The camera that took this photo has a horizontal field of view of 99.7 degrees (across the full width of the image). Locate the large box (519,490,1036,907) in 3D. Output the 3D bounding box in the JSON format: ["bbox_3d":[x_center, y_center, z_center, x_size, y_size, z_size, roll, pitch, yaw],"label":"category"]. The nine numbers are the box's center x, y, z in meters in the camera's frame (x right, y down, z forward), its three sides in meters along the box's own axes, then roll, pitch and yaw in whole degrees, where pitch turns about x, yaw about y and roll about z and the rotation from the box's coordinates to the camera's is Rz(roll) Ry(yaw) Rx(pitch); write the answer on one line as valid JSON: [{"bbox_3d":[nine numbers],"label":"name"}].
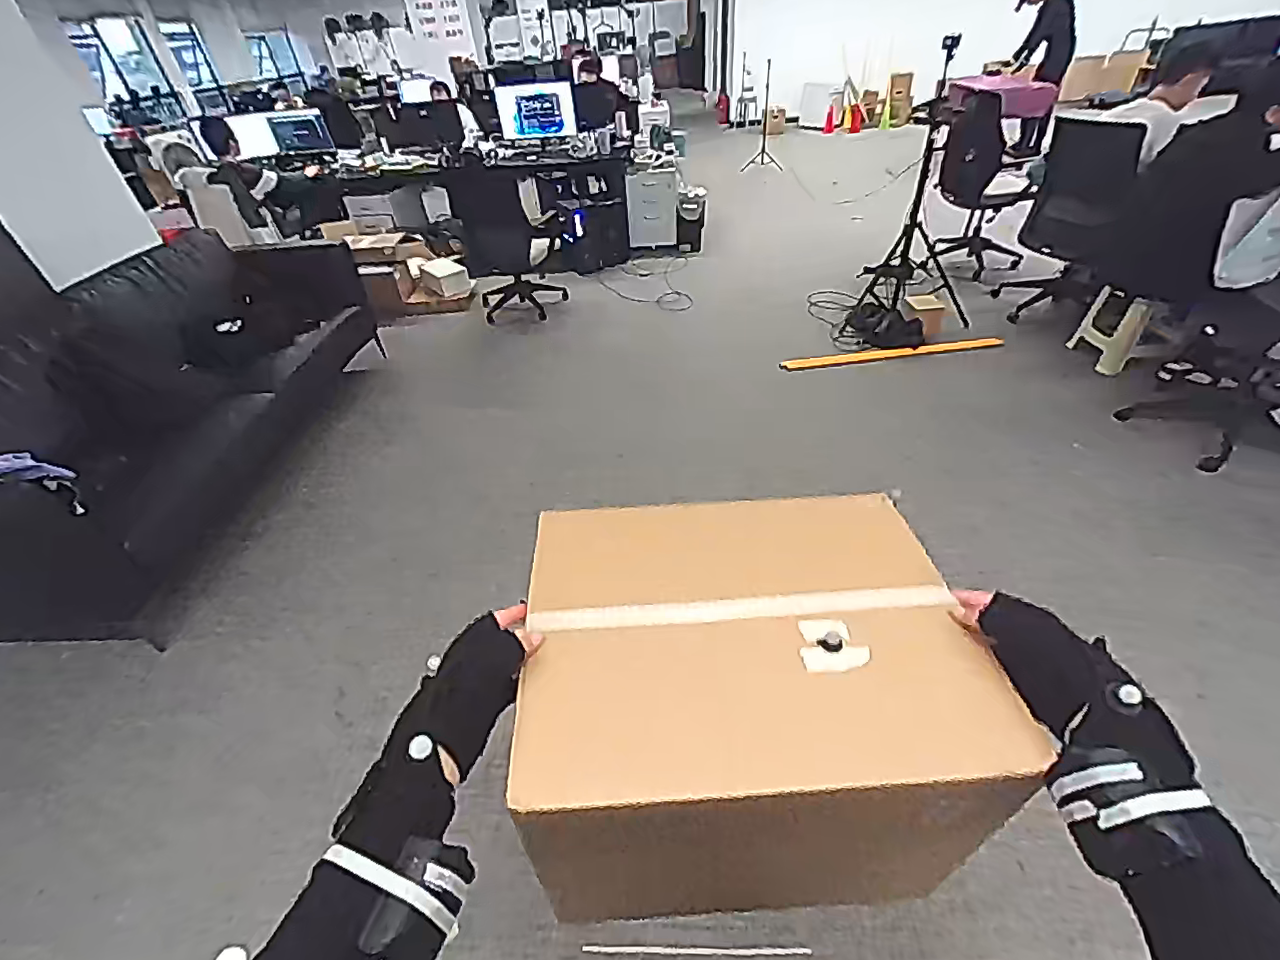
[{"bbox_3d":[0.097,0.234,0.609,0.408,0.320,0.320,-3,39,-2],"label":"large box"}]
